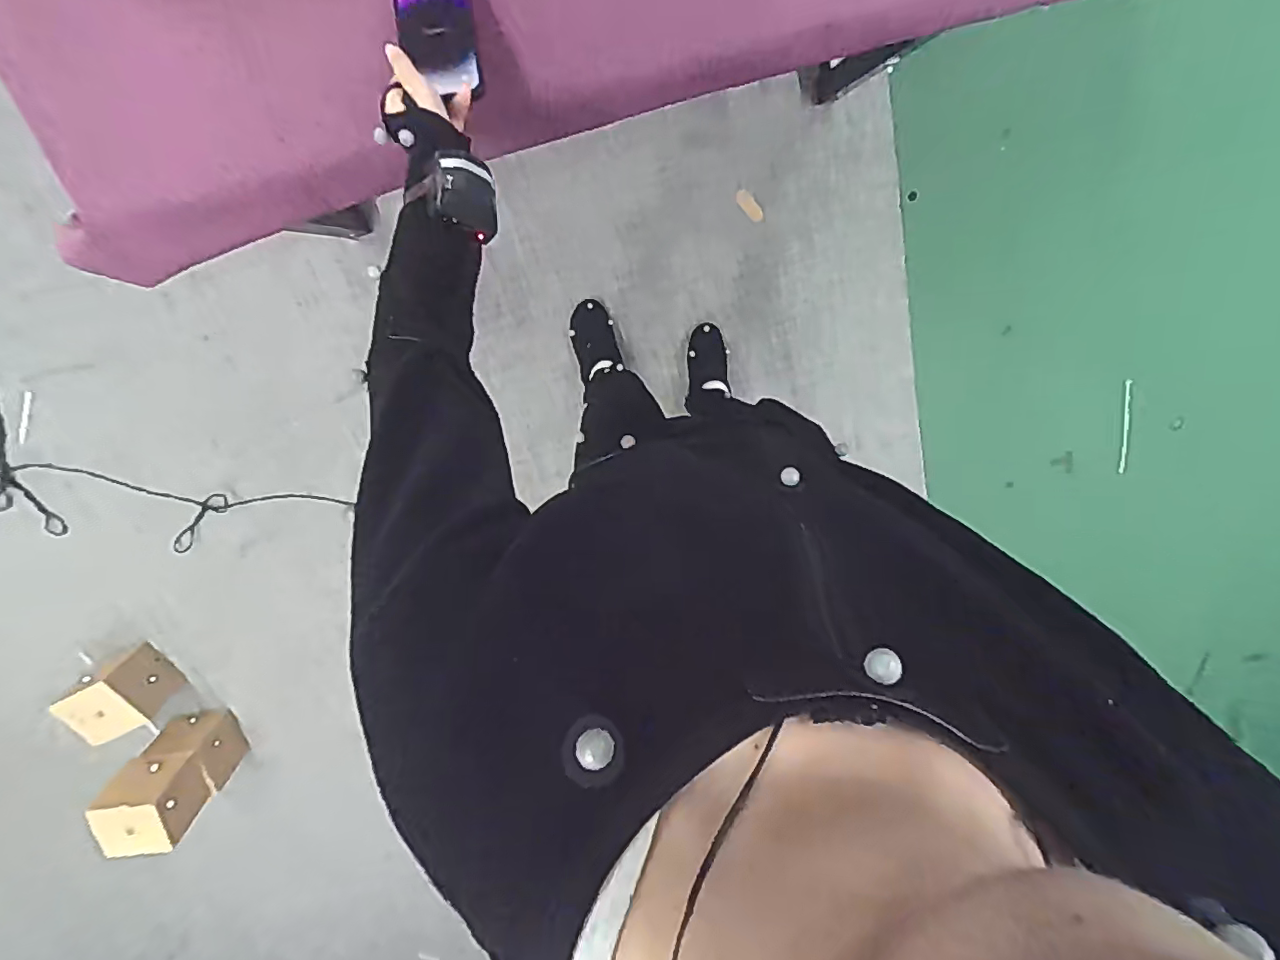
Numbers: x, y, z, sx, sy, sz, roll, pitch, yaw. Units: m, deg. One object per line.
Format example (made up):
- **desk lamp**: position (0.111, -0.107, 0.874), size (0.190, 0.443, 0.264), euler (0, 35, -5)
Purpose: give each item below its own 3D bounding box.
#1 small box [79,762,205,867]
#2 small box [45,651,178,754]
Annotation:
- **small box**: position (-1.322, 0.894, 1.454), size (0.168, 0.176, 0.179), euler (-2, 110, -6)
- **small box**: position (-1.446, 0.610, 1.501), size (0.179, 0.176, 0.168), euler (-25, 112, 3)
